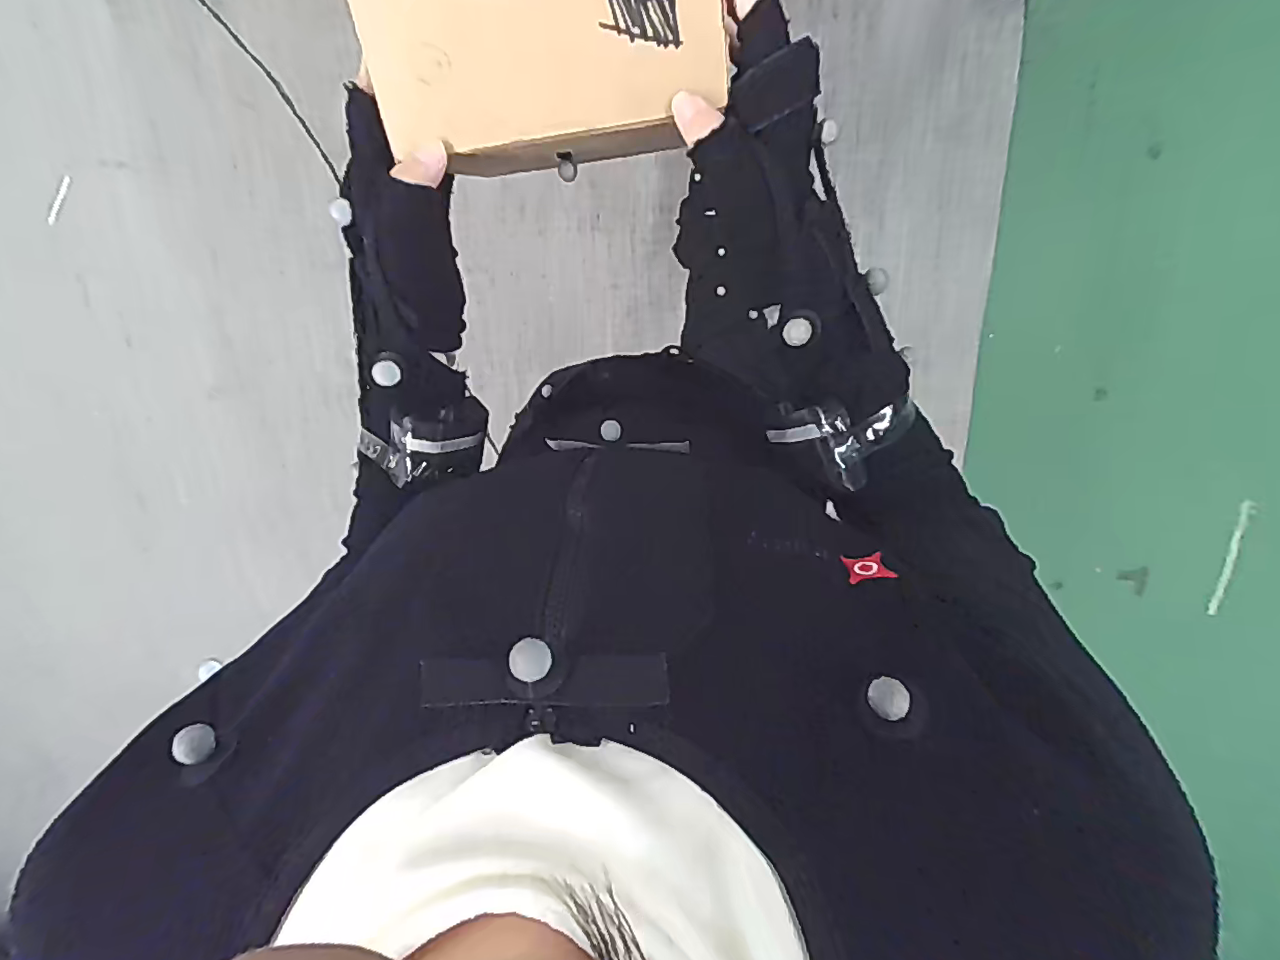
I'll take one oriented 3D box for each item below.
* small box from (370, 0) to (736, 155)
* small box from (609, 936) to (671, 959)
[{"bbox_3d":[-0.045,-0.299,0.313,0.179,0.176,0.168,-6,117,6],"label":"small box"},{"bbox_3d":[0.002,1.433,1.525,0.179,0.176,0.168,-6,106,9],"label":"small box"}]
